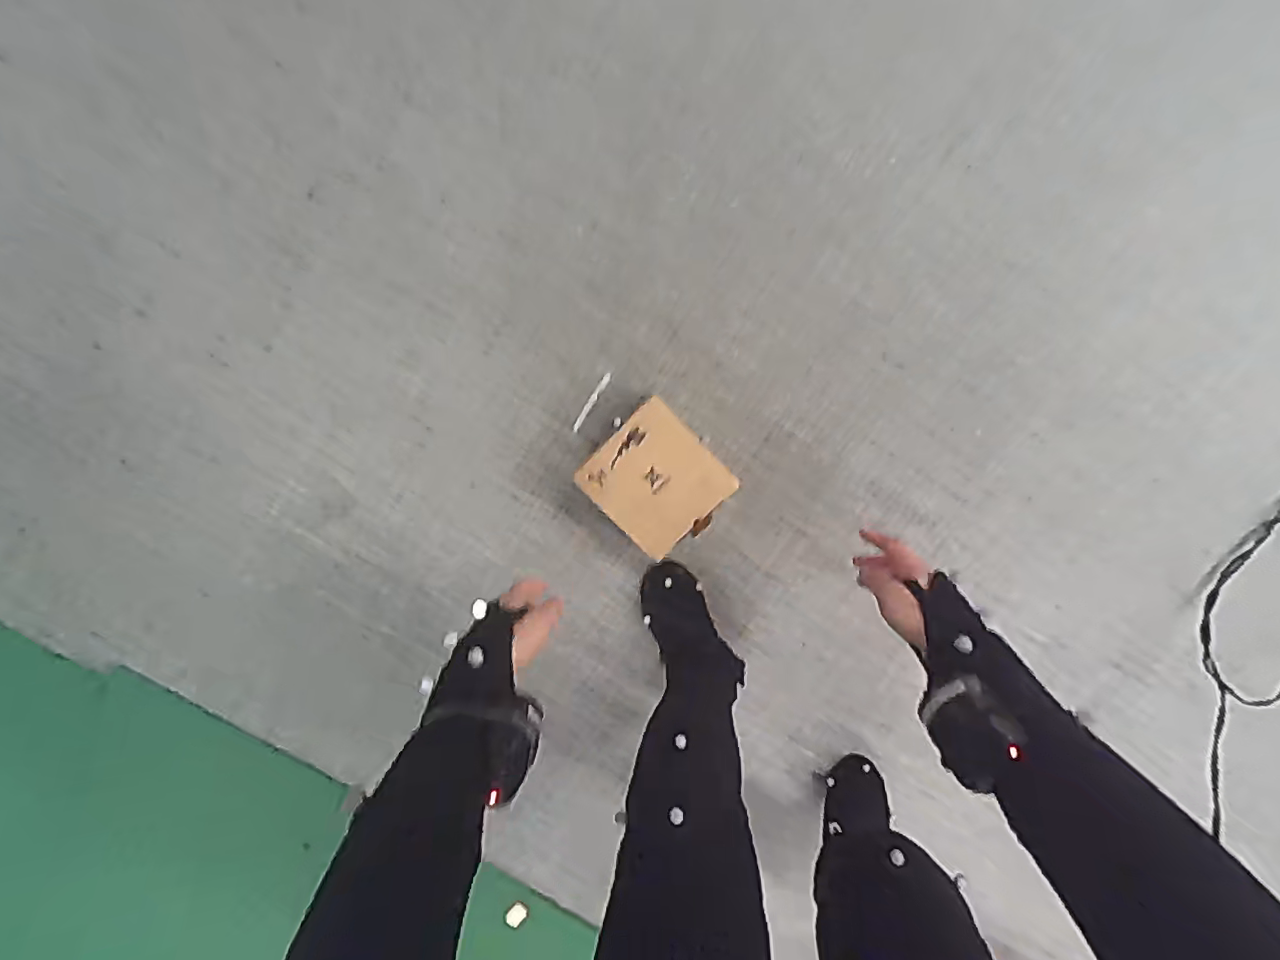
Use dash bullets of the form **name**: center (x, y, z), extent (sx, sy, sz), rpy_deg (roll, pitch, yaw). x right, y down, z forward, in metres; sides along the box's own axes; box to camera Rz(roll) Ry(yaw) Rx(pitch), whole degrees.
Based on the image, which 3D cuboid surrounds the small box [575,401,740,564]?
- **small box**: center (0.026, -0.008, 0.833), extent (0.179, 0.176, 0.168), rpy_deg (44, 98, -7)
